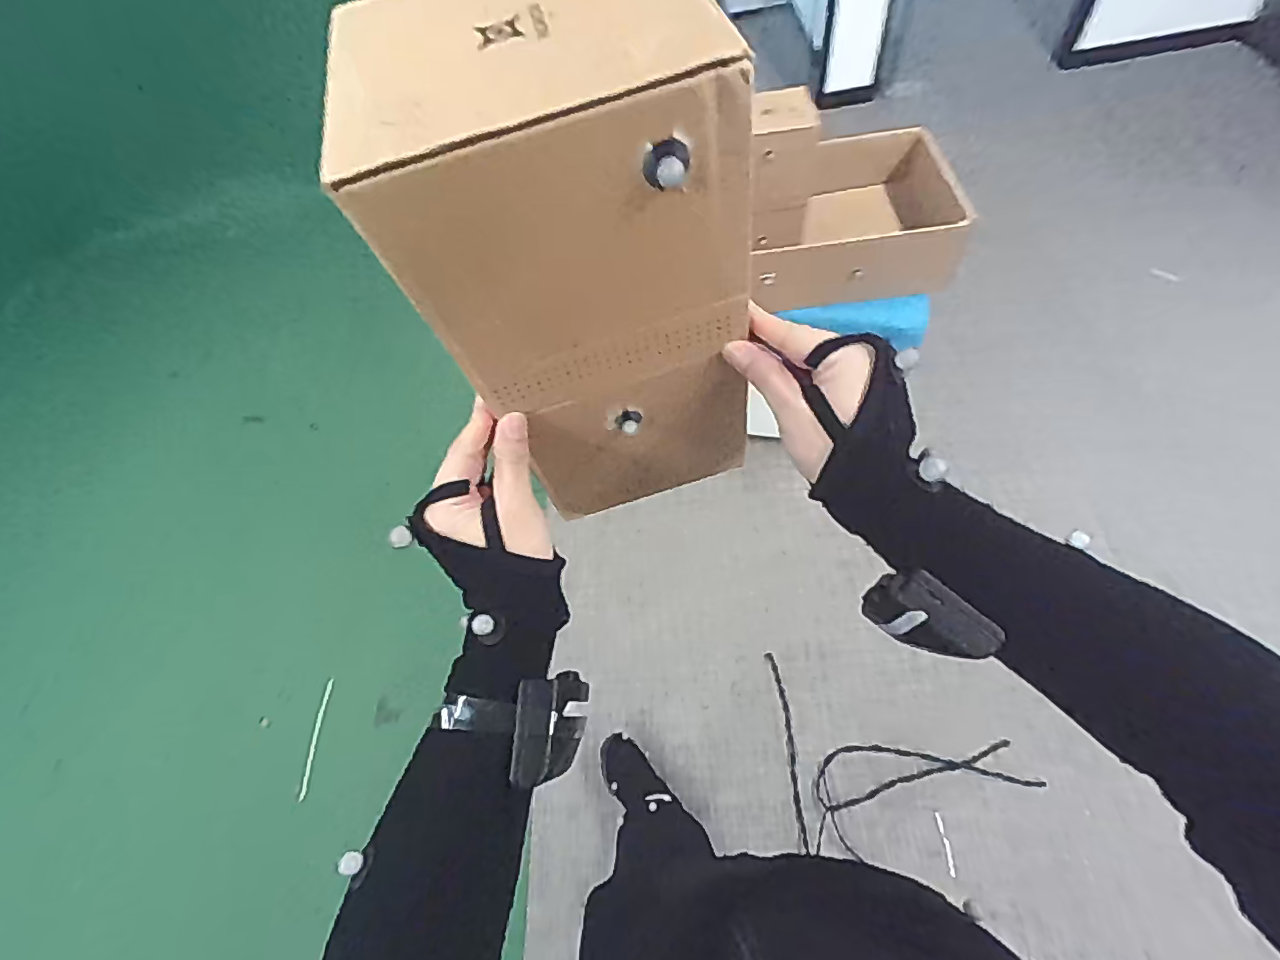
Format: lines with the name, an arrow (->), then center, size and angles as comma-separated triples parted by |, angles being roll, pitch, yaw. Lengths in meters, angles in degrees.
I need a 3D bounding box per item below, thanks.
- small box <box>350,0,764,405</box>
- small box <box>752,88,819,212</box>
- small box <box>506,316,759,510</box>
small box -> -0.036, -0.169, 0.321 | 0.179, 0.176, 0.168 | -16, 60, 1
small box -> 0.275, -0.707, 1.173 | 0.179, 0.176, 0.168 | -5, 58, 5
small box -> -0.008, -0.093, 0.462 | 0.179, 0.176, 0.168 | -15, 60, 1
